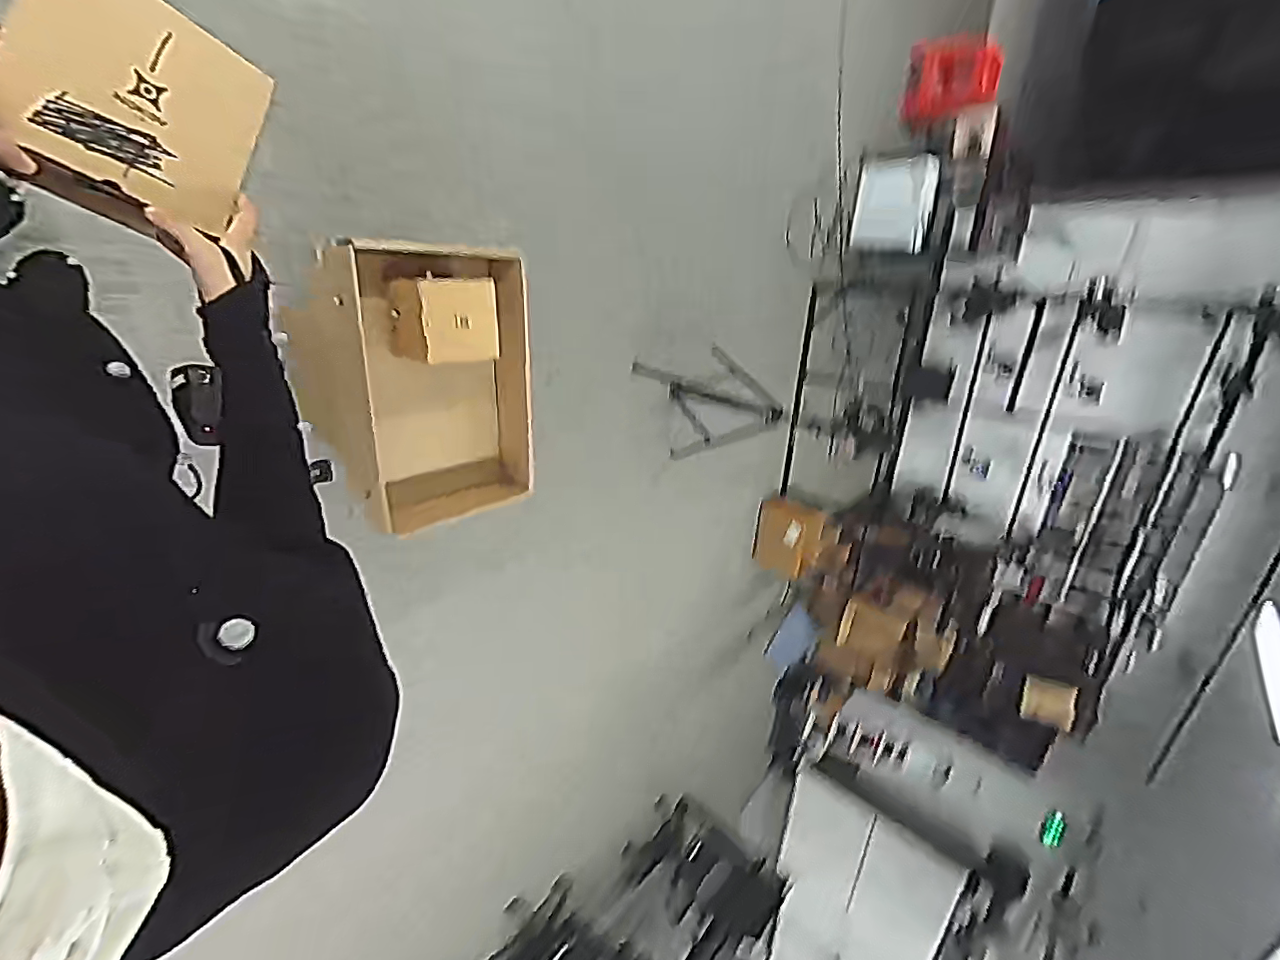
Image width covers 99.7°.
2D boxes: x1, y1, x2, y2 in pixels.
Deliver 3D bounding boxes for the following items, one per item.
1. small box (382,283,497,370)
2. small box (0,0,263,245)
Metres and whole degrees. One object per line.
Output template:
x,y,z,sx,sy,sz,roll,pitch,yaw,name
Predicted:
-0.442,-0.347,1.201,0.179,0.176,0.168,-20,120,-43,small box
-0.505,-0.348,0.520,0.168,0.176,0.179,18,87,-53,small box
